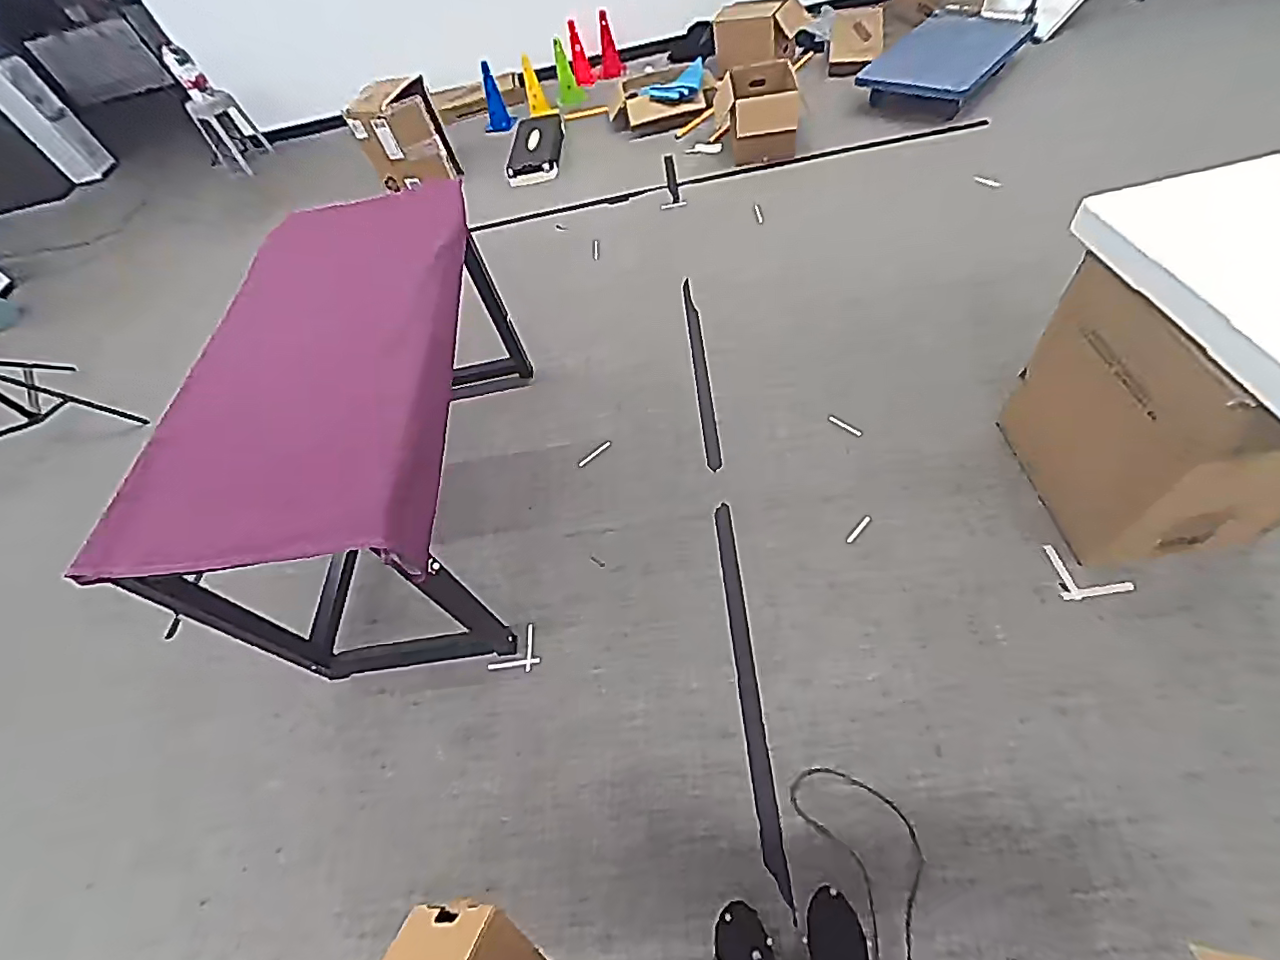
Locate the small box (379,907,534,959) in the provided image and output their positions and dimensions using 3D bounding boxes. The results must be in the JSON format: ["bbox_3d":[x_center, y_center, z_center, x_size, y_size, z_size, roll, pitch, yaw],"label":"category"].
[{"bbox_3d":[-0.220,0.637,0.619,0.168,0.176,0.179,-25,15,28],"label":"small box"}]
